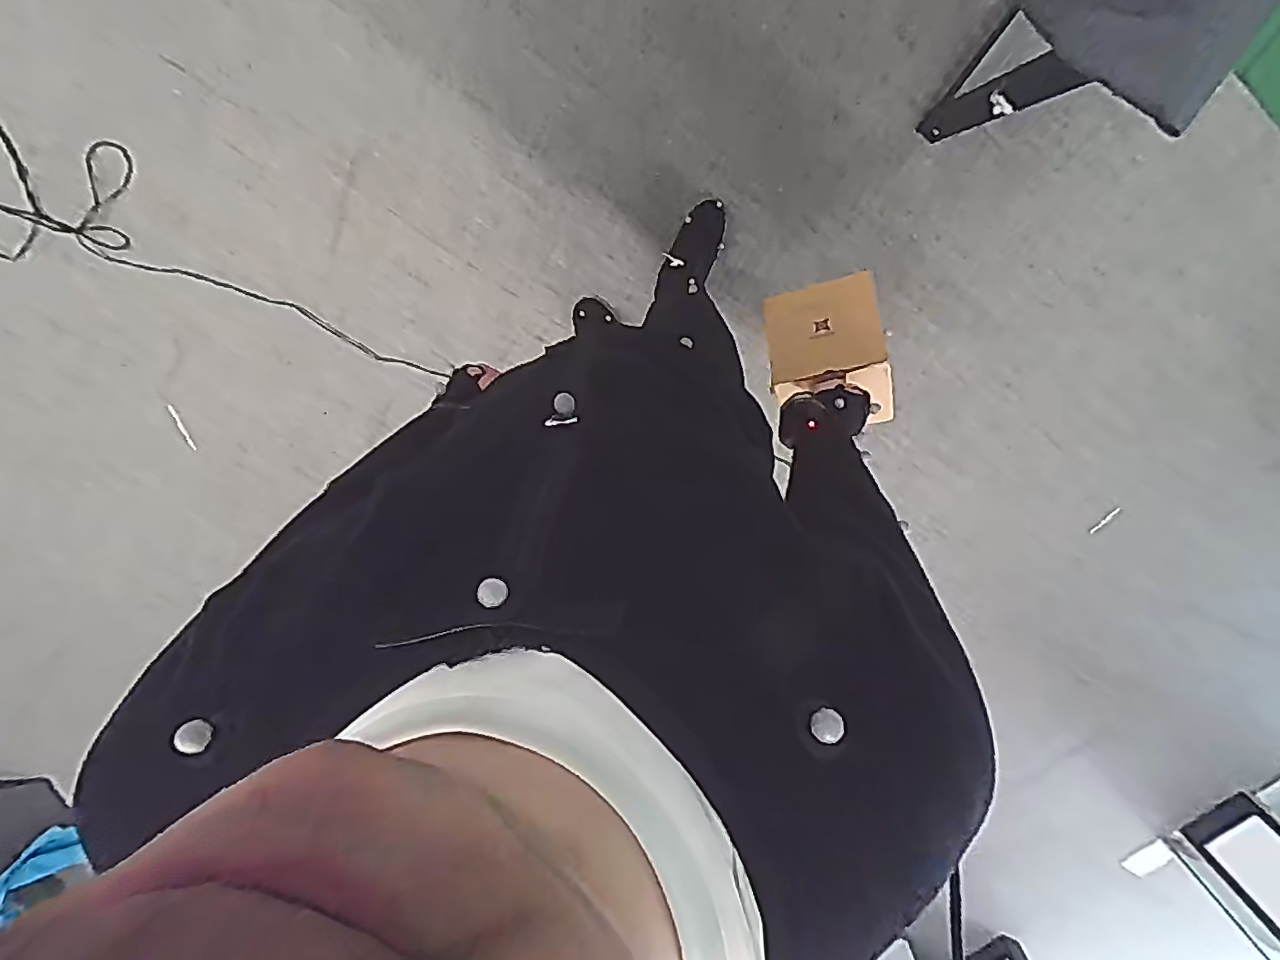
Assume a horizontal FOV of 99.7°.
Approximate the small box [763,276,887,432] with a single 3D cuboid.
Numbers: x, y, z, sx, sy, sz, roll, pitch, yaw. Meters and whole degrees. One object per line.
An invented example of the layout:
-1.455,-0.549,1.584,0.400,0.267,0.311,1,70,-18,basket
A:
0.304,-0.192,0.885,0.168,0.179,0.176,-9,151,21,small box
